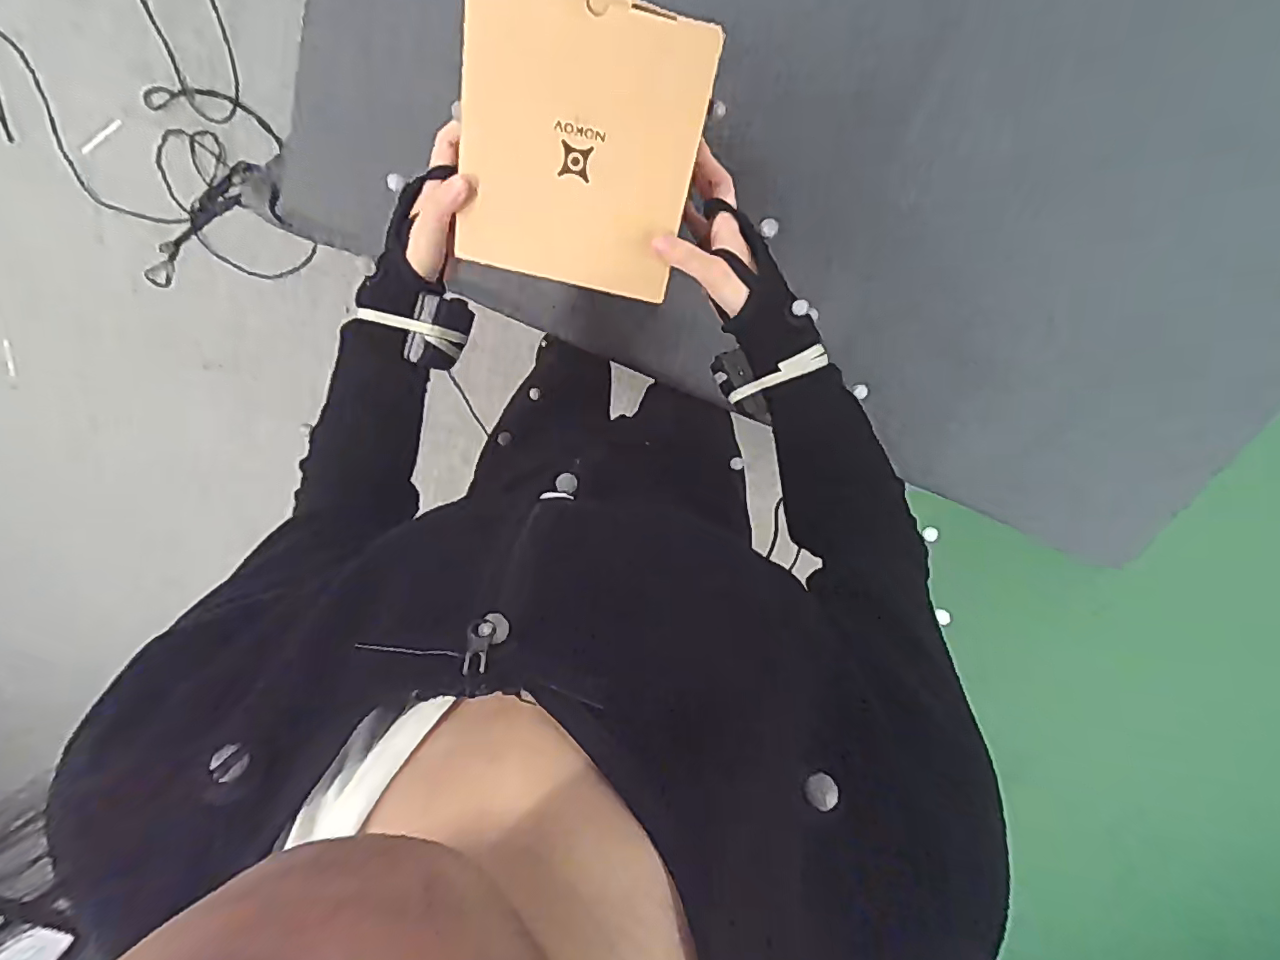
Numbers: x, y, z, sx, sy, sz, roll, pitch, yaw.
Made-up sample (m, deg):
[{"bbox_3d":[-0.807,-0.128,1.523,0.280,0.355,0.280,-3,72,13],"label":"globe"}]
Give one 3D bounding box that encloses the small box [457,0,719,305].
[{"bbox_3d":[-0.041,-0.269,0.456,0.168,0.176,0.179,12,118,-5],"label":"small box"}]
